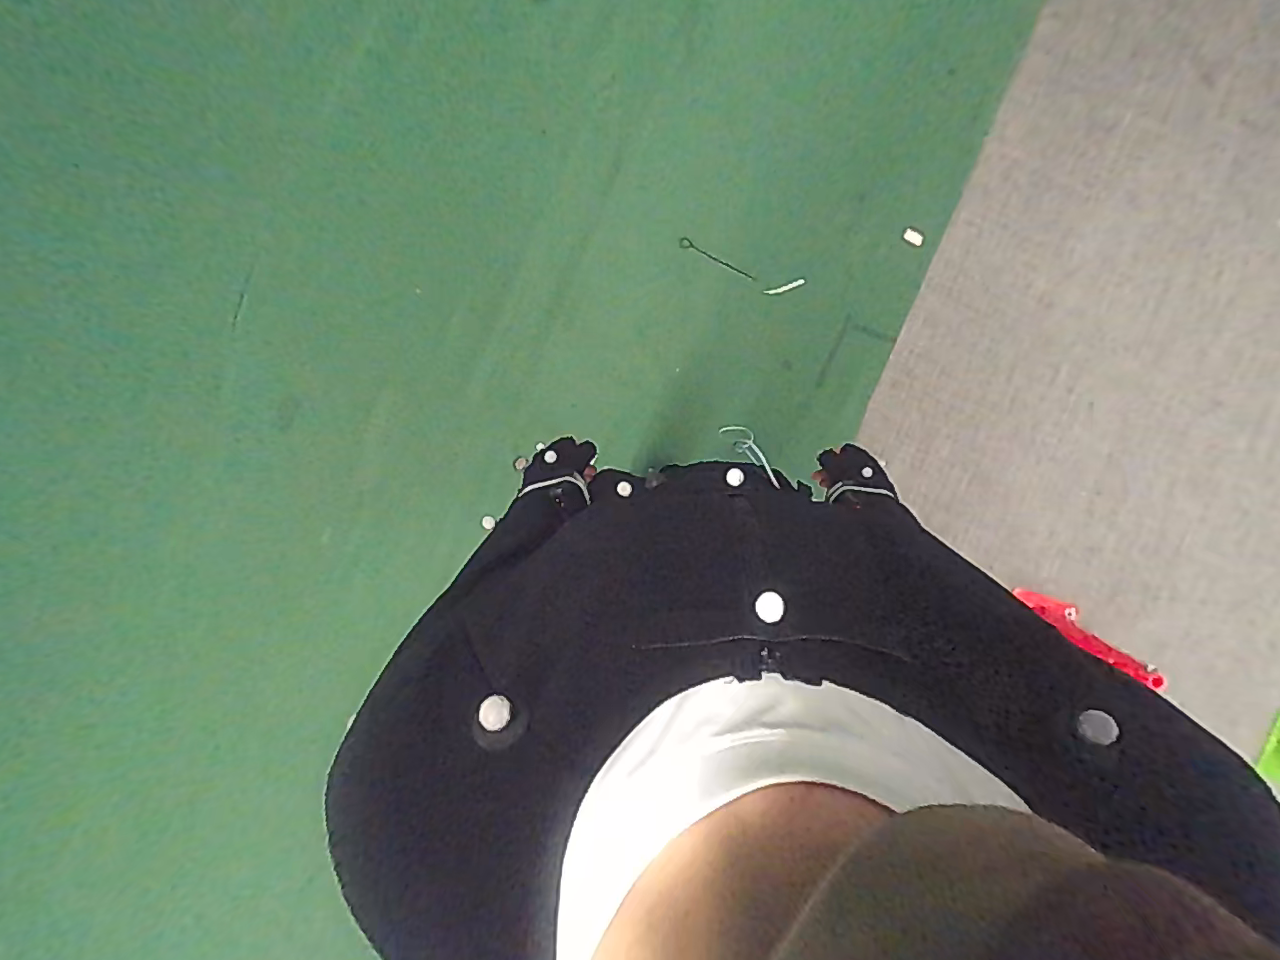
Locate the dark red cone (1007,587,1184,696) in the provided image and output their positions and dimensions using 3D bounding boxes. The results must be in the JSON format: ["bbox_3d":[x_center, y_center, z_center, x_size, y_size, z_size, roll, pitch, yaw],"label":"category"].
[{"bbox_3d":[1.110,0.415,1.305,0.201,0.394,0.202,17,93,1],"label":"dark red cone"}]

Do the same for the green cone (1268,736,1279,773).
[{"bbox_3d":[1.882,0.761,1.344,0.200,0.368,0.202,21,94,0],"label":"green cone"}]
